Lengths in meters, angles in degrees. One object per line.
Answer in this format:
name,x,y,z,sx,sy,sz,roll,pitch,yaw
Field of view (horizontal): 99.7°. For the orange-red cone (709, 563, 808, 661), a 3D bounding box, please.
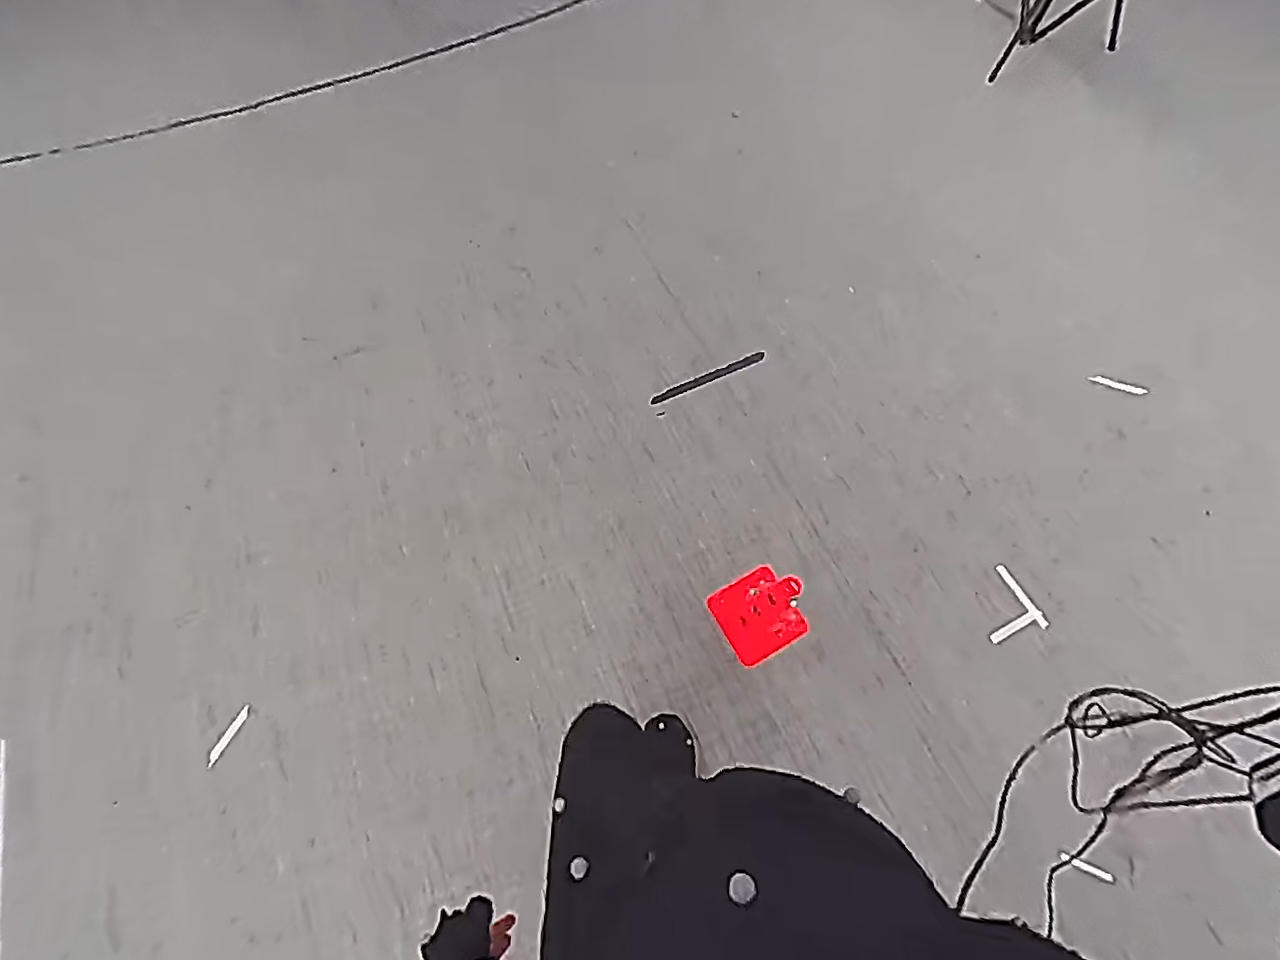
orange-red cone,0.293,0.264,1.206,0.199,0.360,0.198,-27,69,-9
